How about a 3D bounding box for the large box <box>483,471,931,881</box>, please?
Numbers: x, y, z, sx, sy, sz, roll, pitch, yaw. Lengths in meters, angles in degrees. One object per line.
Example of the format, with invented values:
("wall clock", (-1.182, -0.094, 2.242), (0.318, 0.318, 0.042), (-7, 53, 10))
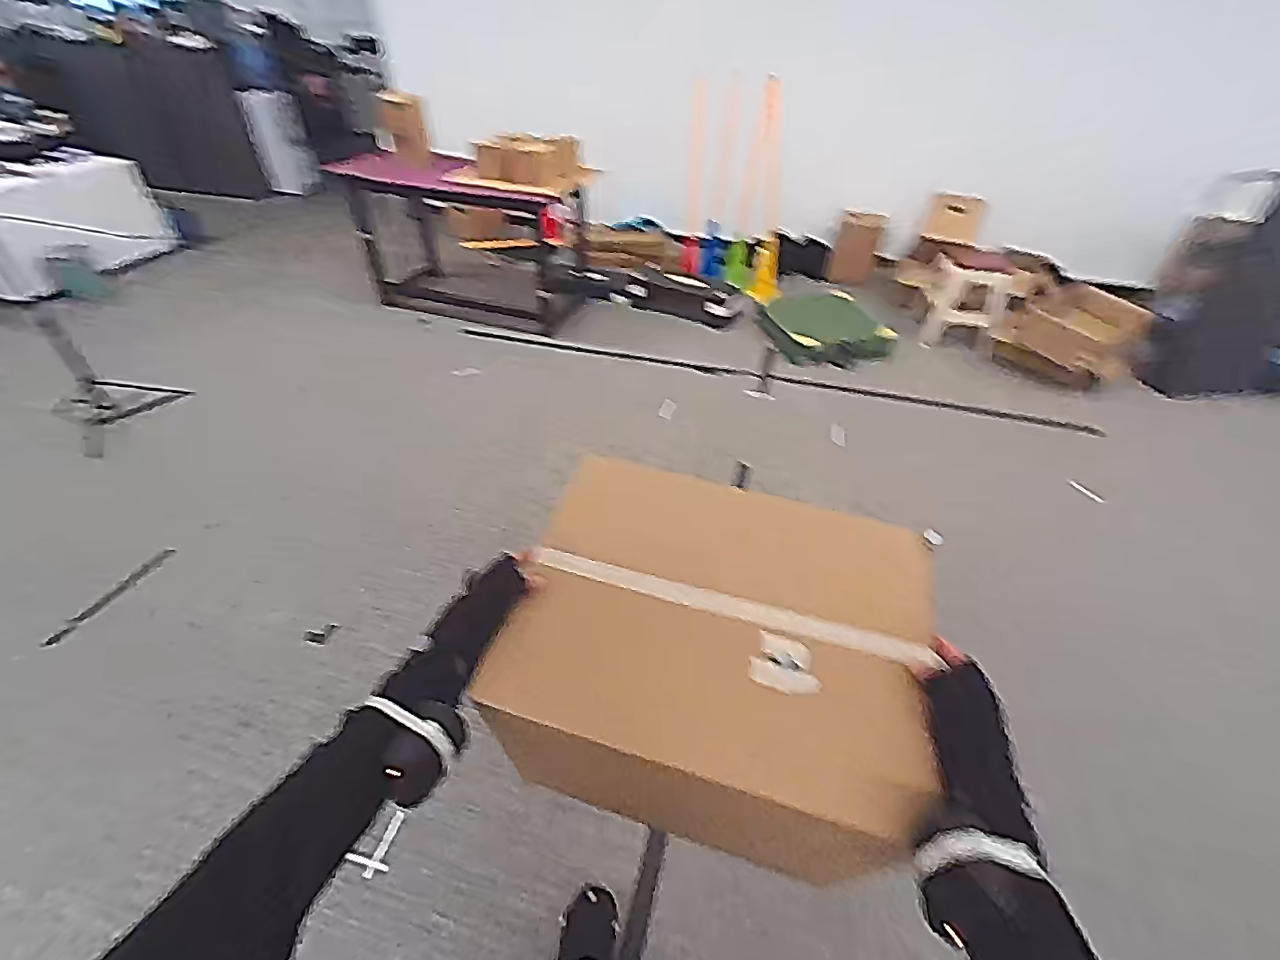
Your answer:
("large box", (0.078, 0.238, 0.670), (0.408, 0.320, 0.320), (14, 50, 9))
